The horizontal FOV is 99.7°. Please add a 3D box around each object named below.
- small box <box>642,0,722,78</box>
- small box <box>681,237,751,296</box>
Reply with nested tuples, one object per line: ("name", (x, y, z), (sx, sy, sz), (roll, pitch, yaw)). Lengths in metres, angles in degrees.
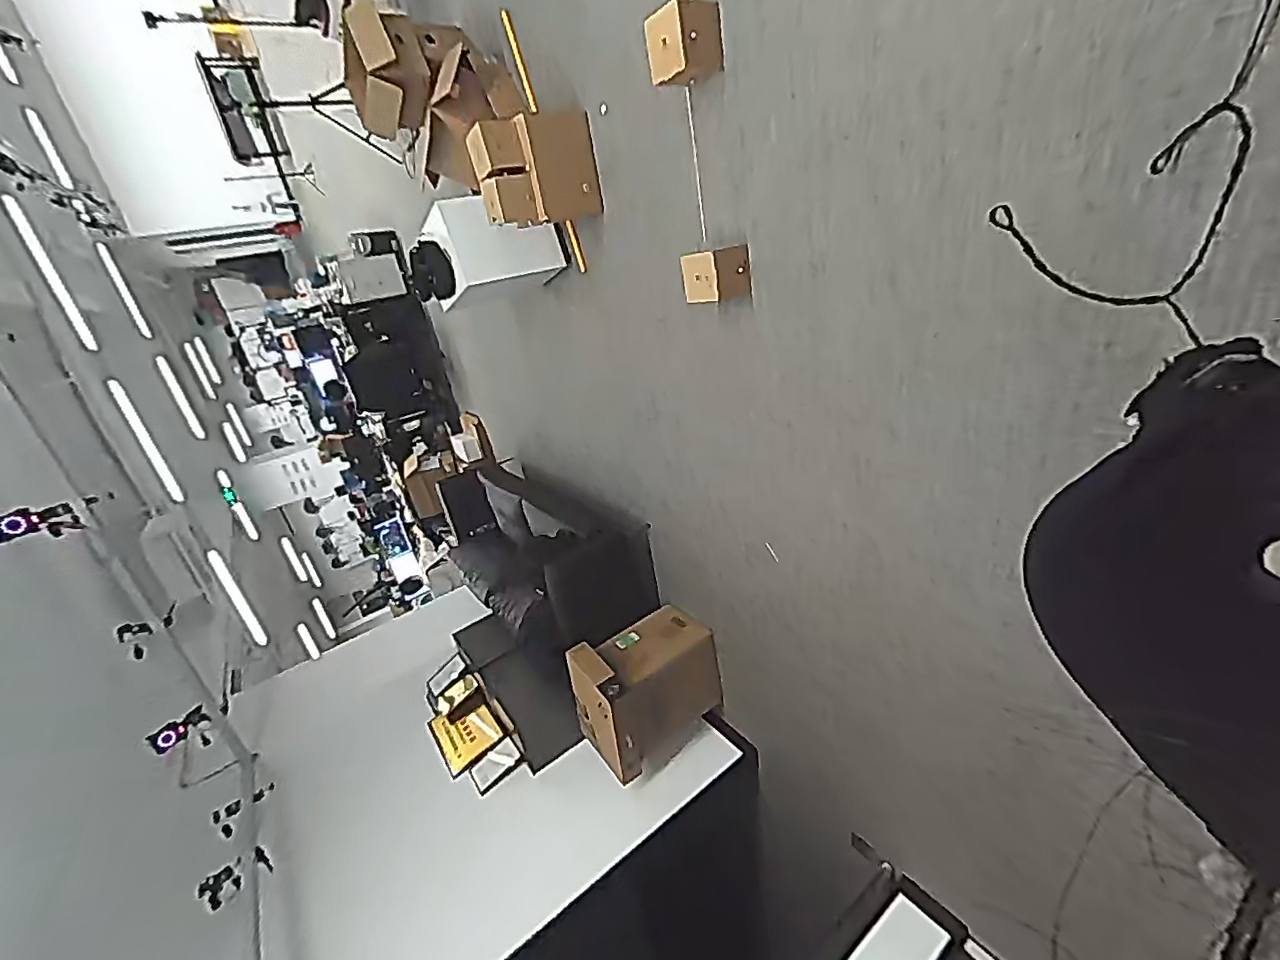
("small box", (0.134, -1.382, 1.682), (0.168, 0.176, 0.179), (21, 131, 51))
("small box", (0.275, -0.765, 1.944), (0.179, 0.176, 0.168), (21, 130, 52))
